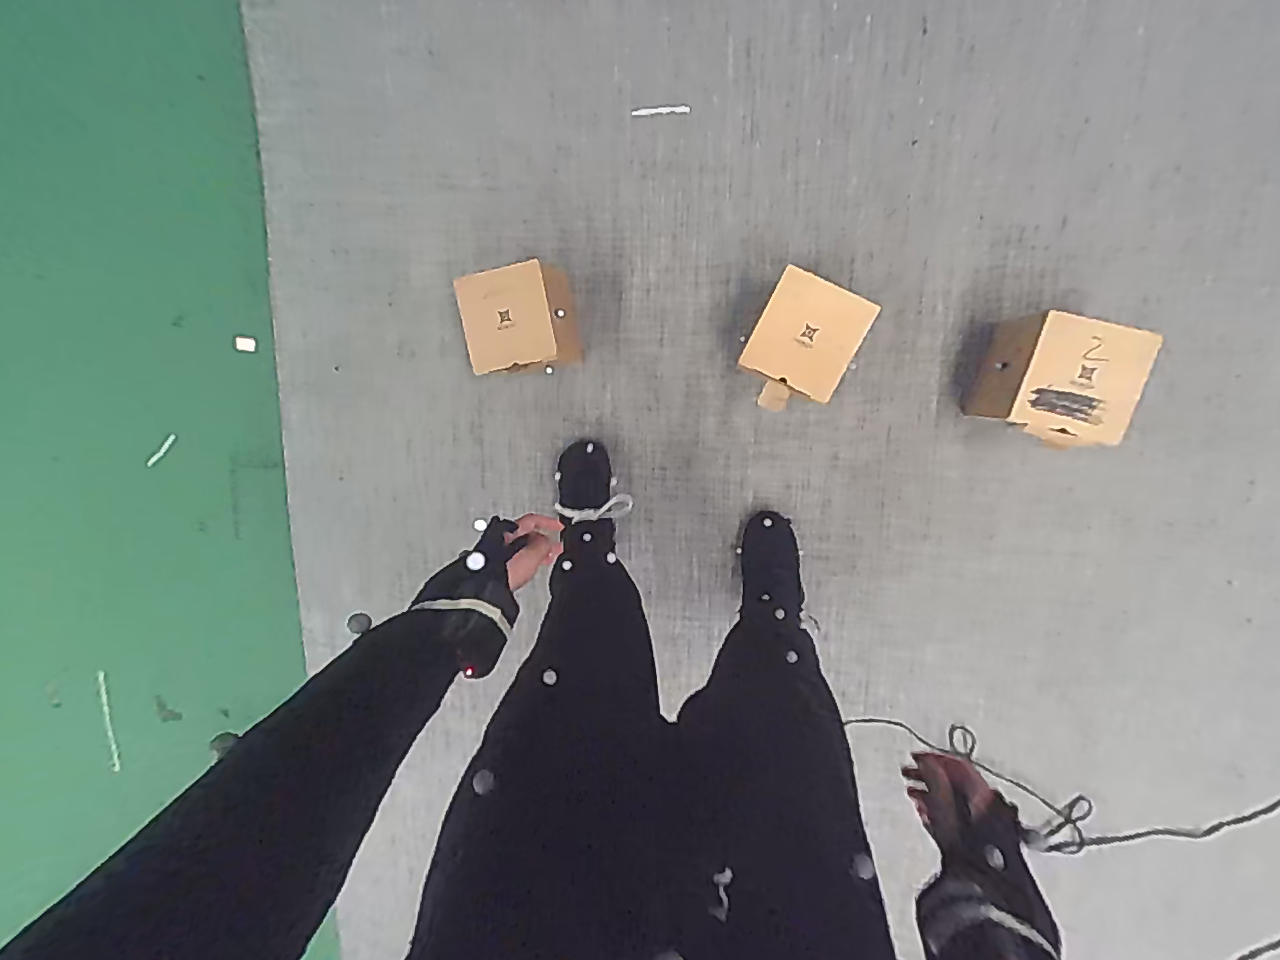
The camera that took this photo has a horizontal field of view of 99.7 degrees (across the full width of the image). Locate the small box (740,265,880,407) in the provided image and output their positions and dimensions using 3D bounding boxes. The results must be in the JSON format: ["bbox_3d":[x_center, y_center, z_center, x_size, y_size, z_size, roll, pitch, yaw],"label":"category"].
[{"bbox_3d":[0.284,-0.246,0.951,0.168,0.176,0.179,27,104,4],"label":"small box"}]

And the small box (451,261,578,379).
[{"bbox_3d":[-0.228,-0.293,1.029,0.168,0.176,0.179,-10,96,10],"label":"small box"}]
